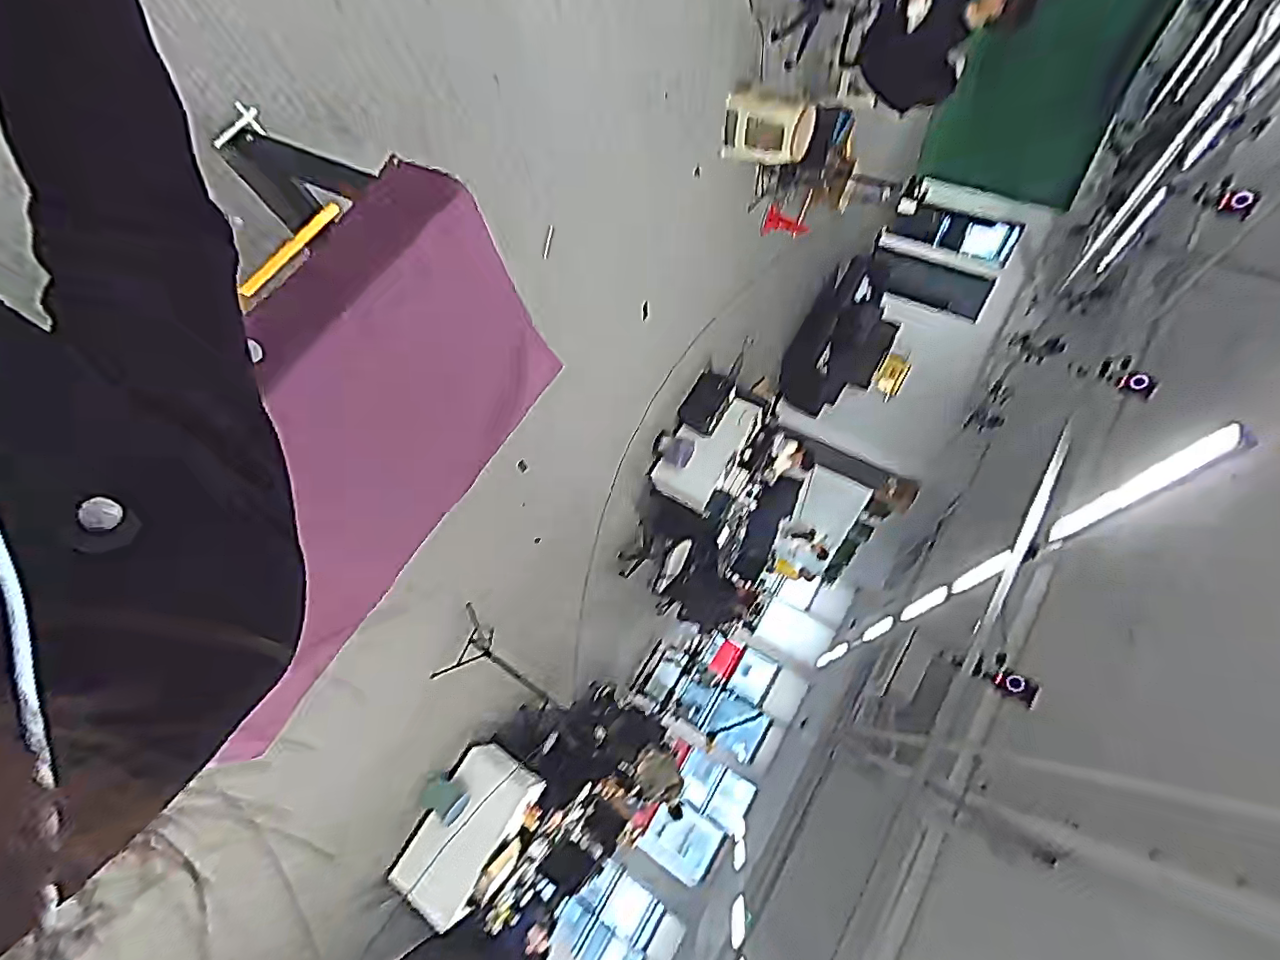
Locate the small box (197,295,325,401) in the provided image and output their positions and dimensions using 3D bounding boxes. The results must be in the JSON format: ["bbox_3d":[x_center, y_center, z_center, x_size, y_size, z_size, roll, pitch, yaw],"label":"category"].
[{"bbox_3d":[-0.971,-0.340,1.385,0.179,0.176,0.168,-55,160,-12],"label":"small box"}]
